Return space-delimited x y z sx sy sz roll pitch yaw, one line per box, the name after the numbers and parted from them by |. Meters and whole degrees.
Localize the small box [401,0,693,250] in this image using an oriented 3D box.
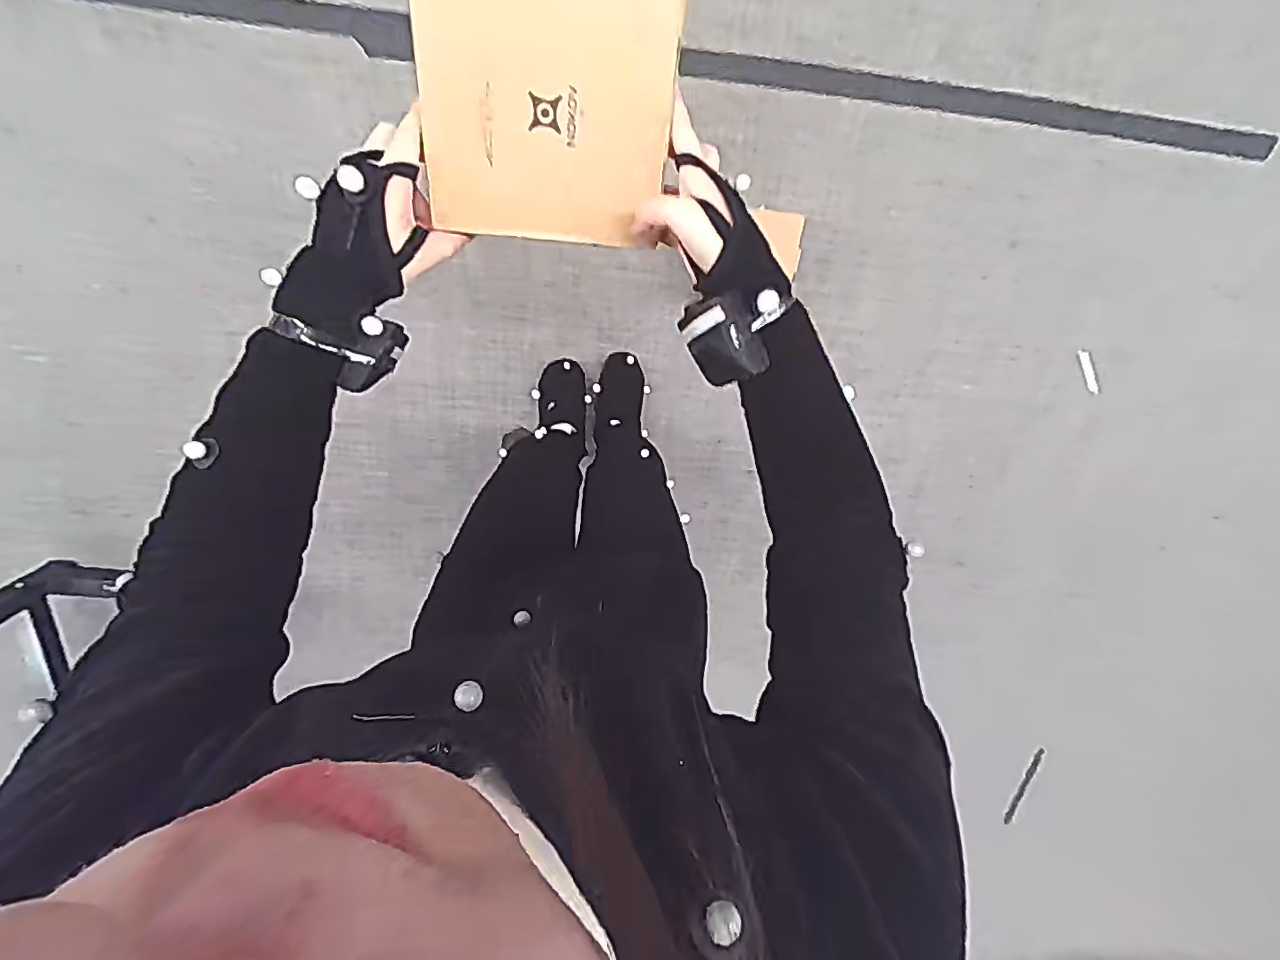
-0.074 -0.293 0.422 0.179 0.176 0.168 2 124 -11 | small box

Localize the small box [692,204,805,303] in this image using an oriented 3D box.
0.219 -0.475 1.138 0.179 0.176 0.168 4 112 -7 | small box
